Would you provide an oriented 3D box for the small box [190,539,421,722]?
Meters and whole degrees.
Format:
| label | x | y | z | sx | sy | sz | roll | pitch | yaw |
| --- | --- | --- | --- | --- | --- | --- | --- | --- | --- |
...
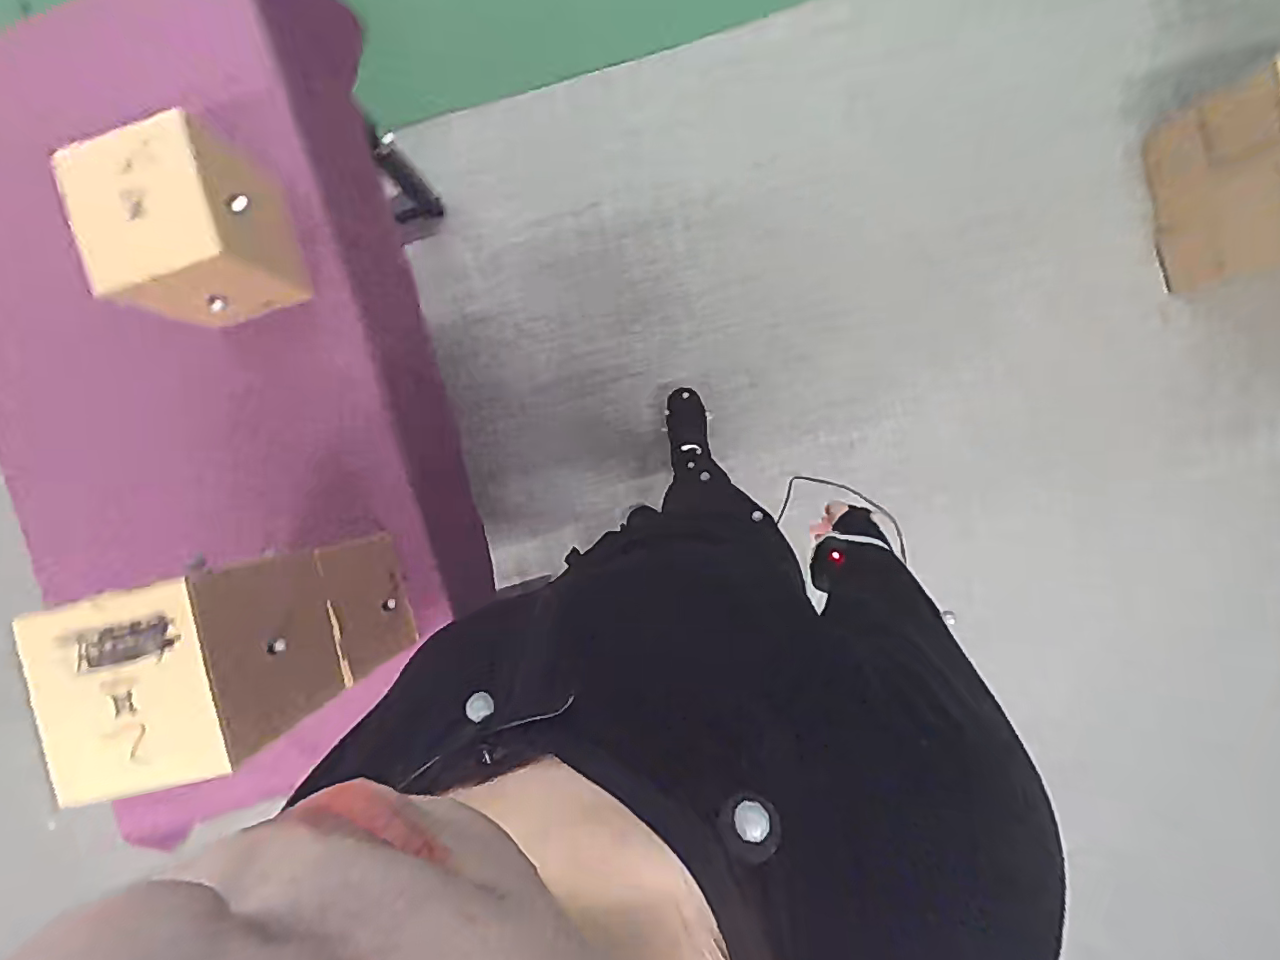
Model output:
| label | x | y | z | sx | sy | sz | roll | pitch | yaw |
| --- | --- | --- | --- | --- | --- | --- | --- | --- | --- |
| small box | -0.426 | 0.186 | 0.716 | 0.179 | 0.176 | 0.168 | -17 | 91 | 3 |

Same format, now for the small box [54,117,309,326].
| label | x | y | z | sx | sy | sz | roll | pitch | yaw |
| --- | --- | --- | --- | --- | --- | --- | --- | --- | --- |
| small box | -0.574 | -0.314 | 0.704 | 0.168 | 0.176 | 0.179 | -16 | 91 | 3 |
